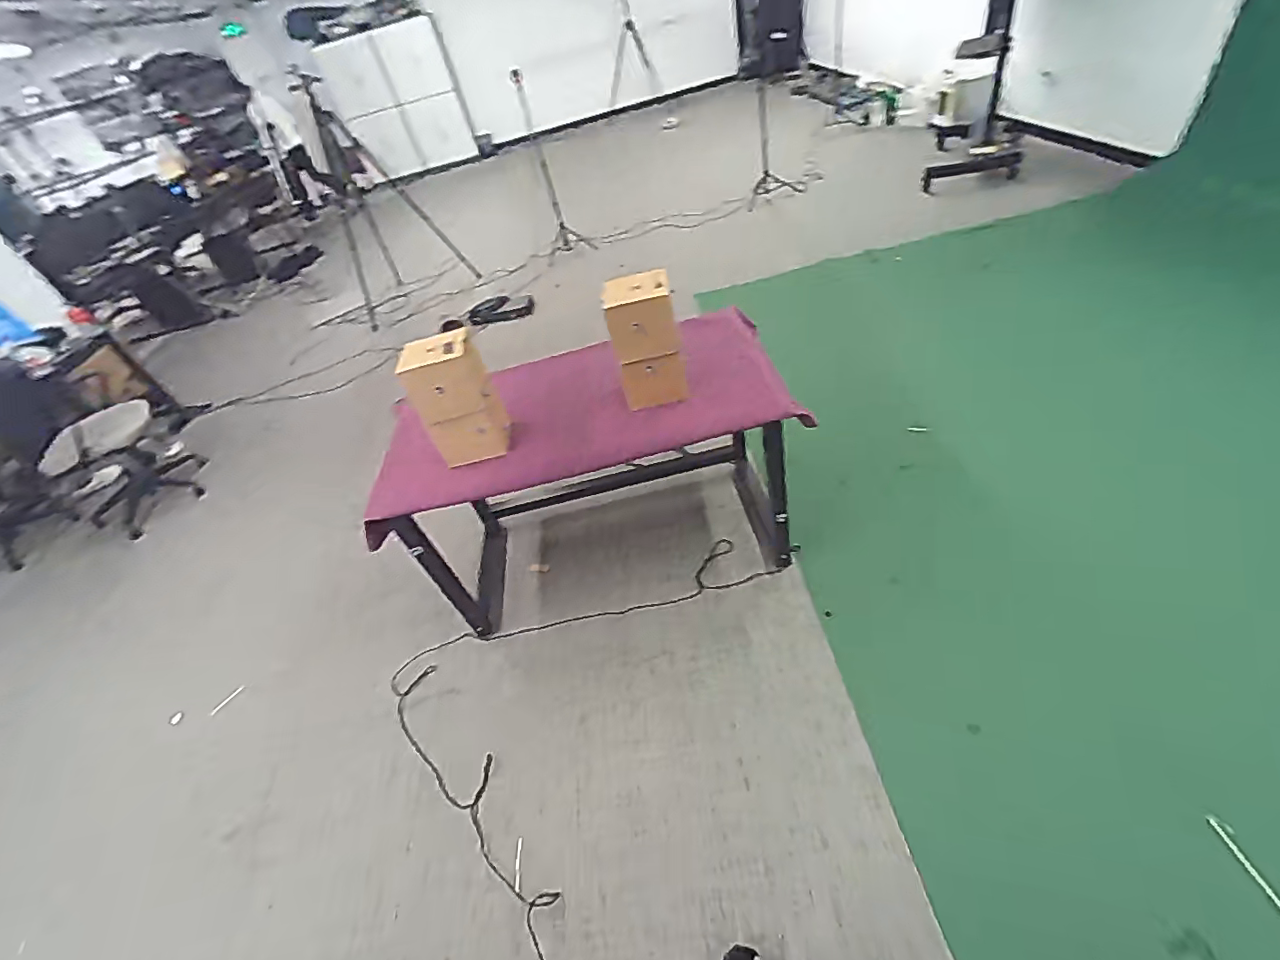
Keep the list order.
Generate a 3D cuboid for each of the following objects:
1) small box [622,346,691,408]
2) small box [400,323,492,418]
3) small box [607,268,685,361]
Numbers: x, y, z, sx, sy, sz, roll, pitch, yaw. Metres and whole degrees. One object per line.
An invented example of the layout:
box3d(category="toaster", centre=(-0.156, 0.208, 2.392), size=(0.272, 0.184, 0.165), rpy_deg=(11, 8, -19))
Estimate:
box3d(category="small box", centre=(0.051, -0.334, 1.578), size=(0.179, 0.176, 0.168), rpy_deg=(-10, 43, 7))
box3d(category="small box", centre=(-0.509, -0.291, 1.452), size=(0.179, 0.176, 0.168), rpy_deg=(-15, 42, 1))
box3d(category="small box", centre=(0.018, -0.443, 1.459), size=(0.179, 0.176, 0.168), rpy_deg=(-10, 43, 8))
